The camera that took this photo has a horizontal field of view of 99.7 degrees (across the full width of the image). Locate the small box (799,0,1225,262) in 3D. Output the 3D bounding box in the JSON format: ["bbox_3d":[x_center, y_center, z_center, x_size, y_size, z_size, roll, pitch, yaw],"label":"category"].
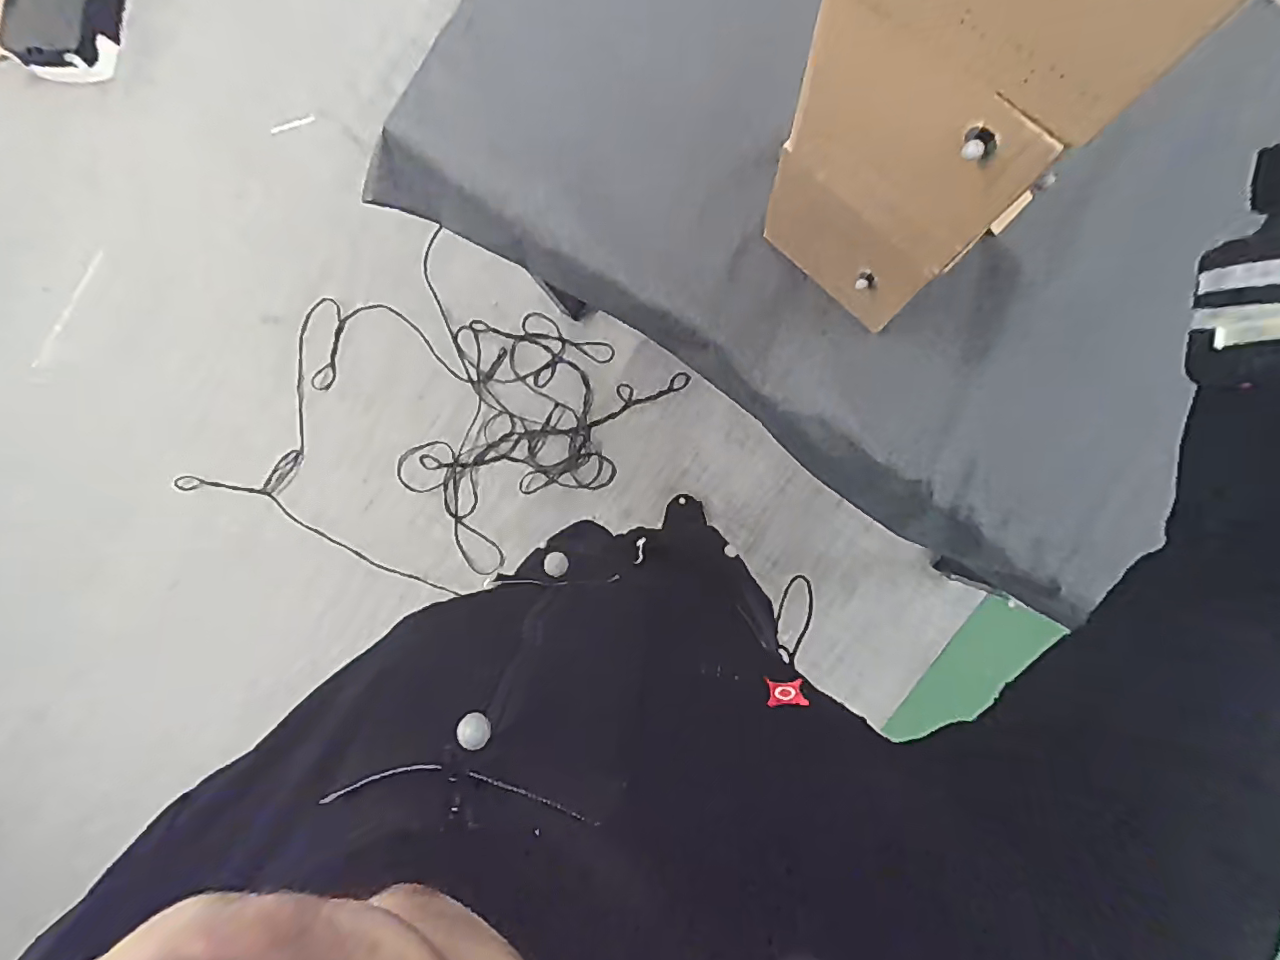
[{"bbox_3d":[0.238,-0.291,0.377,0.179,0.176,0.168,44,93,5],"label":"small box"}]

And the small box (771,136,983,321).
[{"bbox_3d":[0.255,-0.283,0.538,0.179,0.176,0.168,44,93,7],"label":"small box"}]

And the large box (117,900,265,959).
[{"bbox_3d":[-1.187,1.403,1.357,0.408,0.320,0.320,35,93,8],"label":"large box"}]
